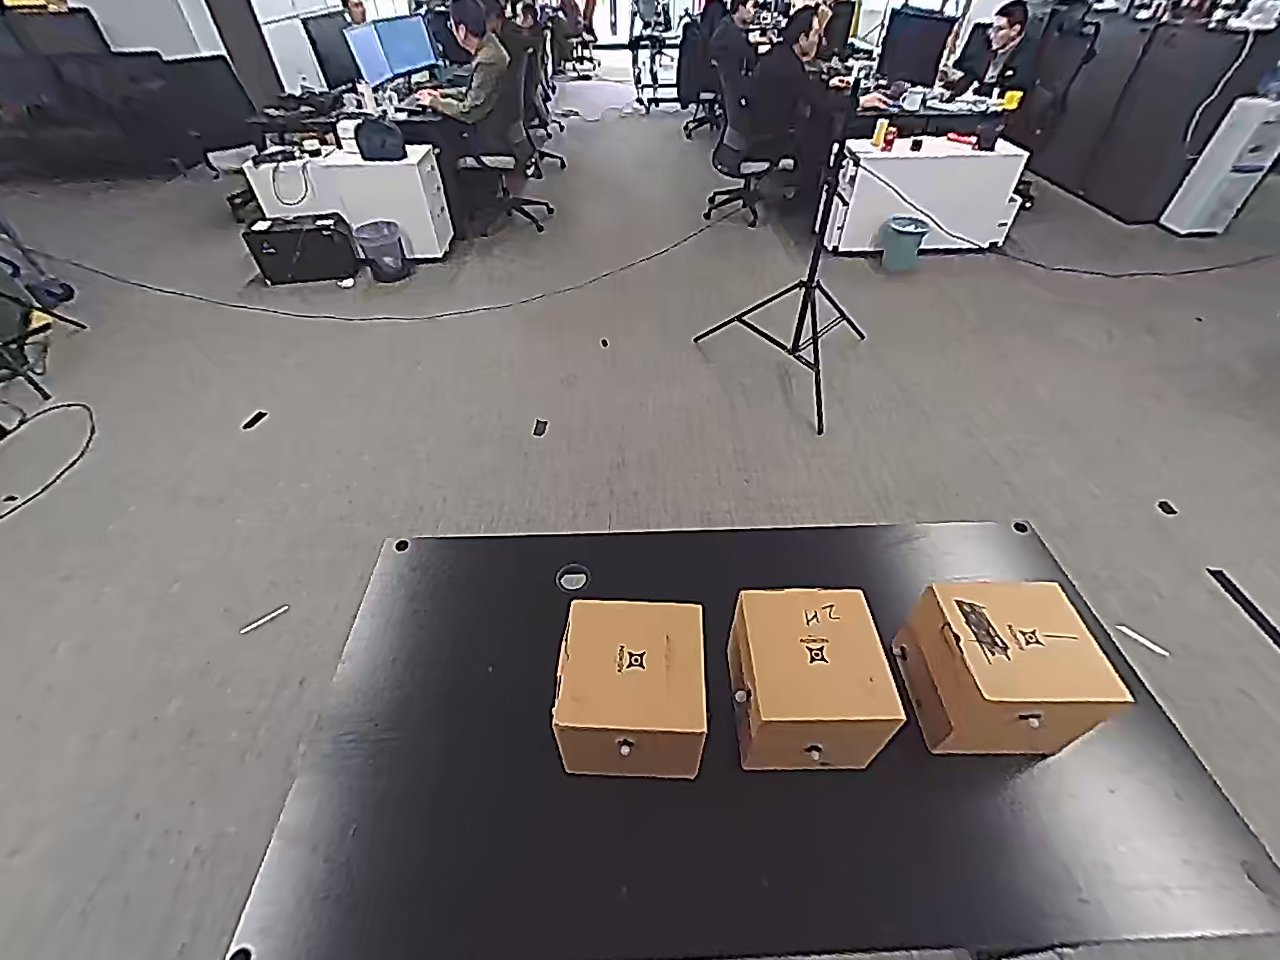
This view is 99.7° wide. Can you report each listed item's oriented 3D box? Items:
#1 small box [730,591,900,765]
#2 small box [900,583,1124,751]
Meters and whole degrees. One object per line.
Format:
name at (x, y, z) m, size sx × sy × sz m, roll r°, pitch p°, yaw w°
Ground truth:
small box at (0.219, 0.271, 0.732) m, size 0.168 × 0.176 × 0.179 m, roll 0°, pitch 44°, yaw 0°
small box at (0.480, 0.257, 0.741) m, size 0.179 × 0.176 × 0.168 m, roll 0°, pitch 44°, yaw 0°
